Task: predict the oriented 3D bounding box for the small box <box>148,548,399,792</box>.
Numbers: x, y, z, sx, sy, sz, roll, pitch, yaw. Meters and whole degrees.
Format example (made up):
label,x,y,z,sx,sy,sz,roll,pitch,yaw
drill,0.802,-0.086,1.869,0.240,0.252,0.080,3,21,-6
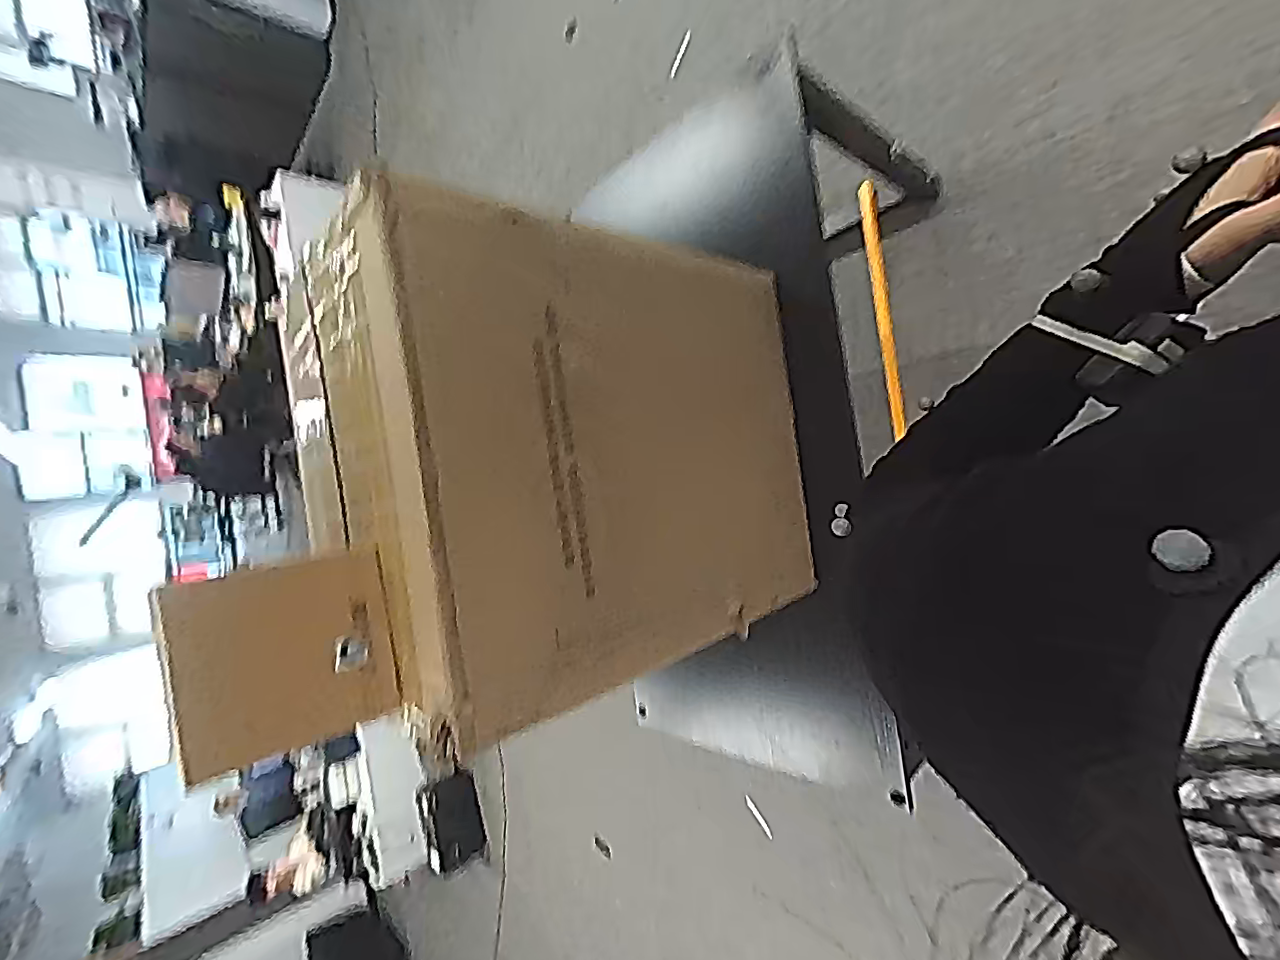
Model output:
label,x,y,z,sx,sy,sz,roll,pitch,yaw
small box,-0.362,0.169,0.536,0.179,0.176,0.168,-17,85,44
